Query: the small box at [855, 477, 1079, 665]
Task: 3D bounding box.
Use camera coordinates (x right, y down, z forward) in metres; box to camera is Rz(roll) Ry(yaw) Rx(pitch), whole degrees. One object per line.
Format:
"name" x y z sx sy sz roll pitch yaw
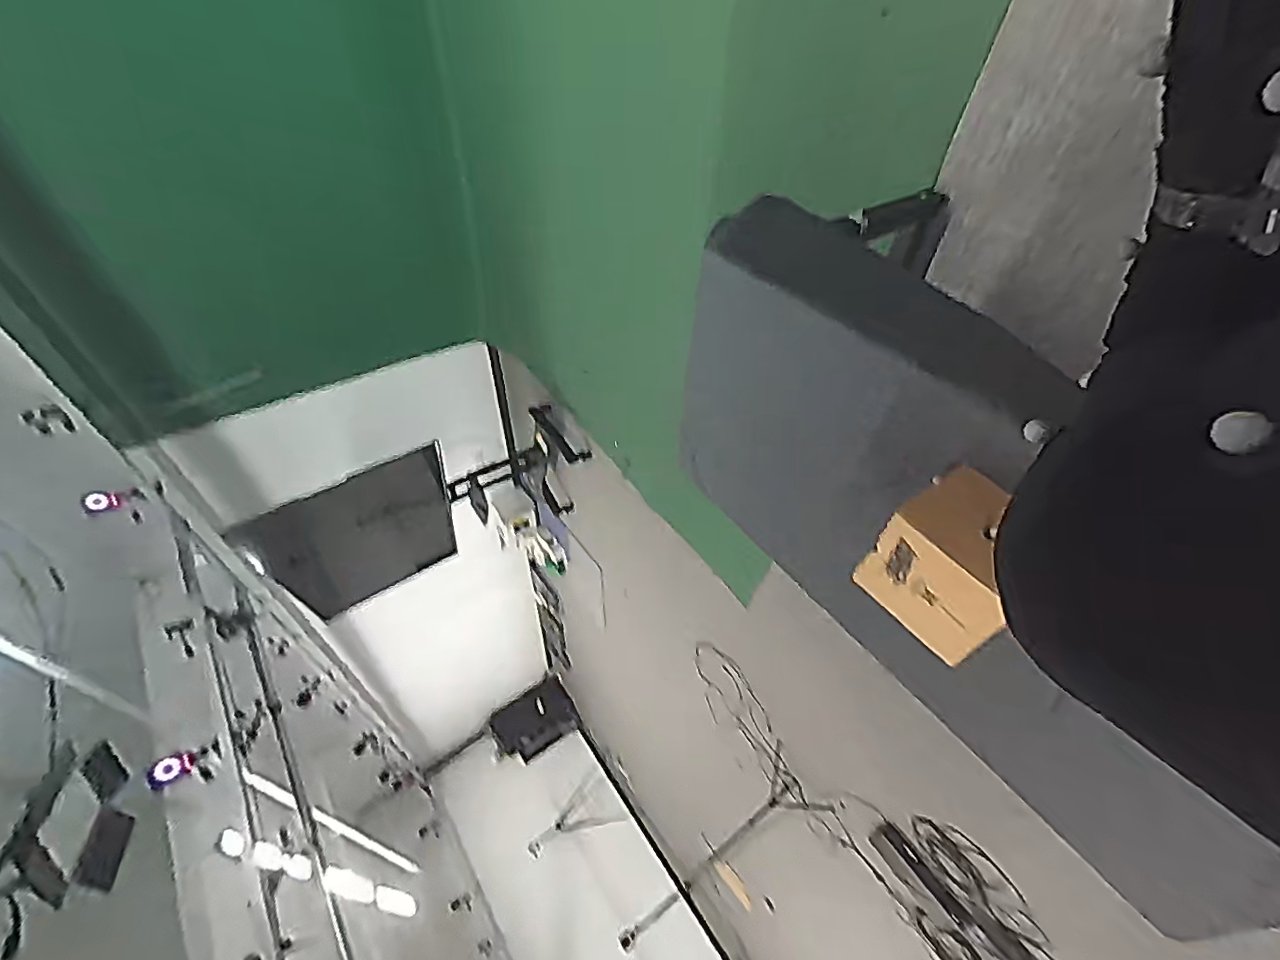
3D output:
"small box" 0.450 0.117 0.760 0.179 0.176 0.168 46 150 30
